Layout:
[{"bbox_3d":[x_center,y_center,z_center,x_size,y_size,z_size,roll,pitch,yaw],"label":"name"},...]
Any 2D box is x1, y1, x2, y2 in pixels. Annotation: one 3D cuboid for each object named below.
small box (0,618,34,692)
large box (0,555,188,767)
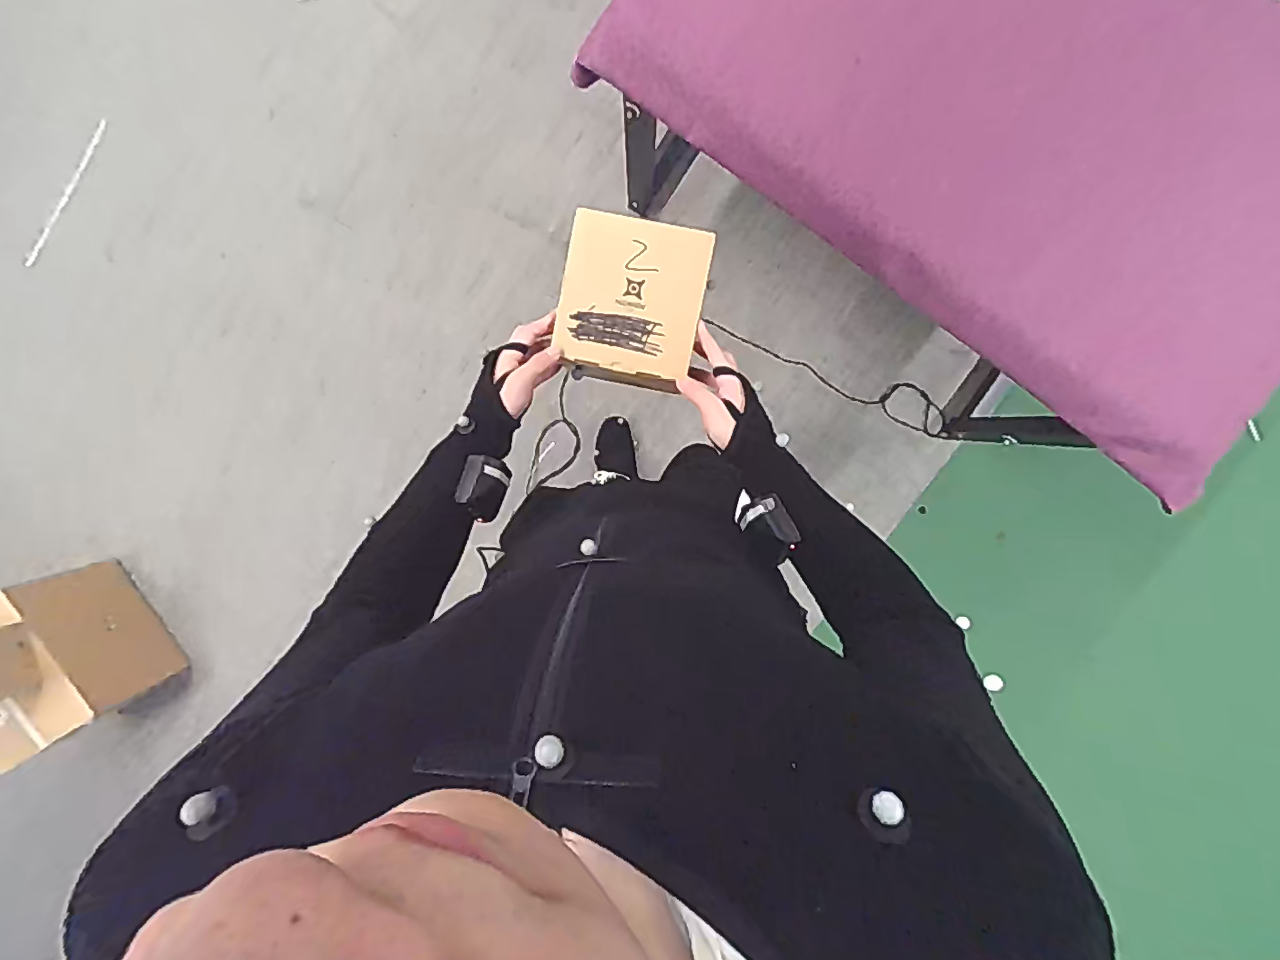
[{"bbox_3d":[-1.610,0.442,1.265,0.179,0.176,0.168,-11,97,0],"label":"small box"},{"bbox_3d":[-1.628,0.483,1.516,0.320,0.320,0.408,-31,97,3],"label":"large box"}]
